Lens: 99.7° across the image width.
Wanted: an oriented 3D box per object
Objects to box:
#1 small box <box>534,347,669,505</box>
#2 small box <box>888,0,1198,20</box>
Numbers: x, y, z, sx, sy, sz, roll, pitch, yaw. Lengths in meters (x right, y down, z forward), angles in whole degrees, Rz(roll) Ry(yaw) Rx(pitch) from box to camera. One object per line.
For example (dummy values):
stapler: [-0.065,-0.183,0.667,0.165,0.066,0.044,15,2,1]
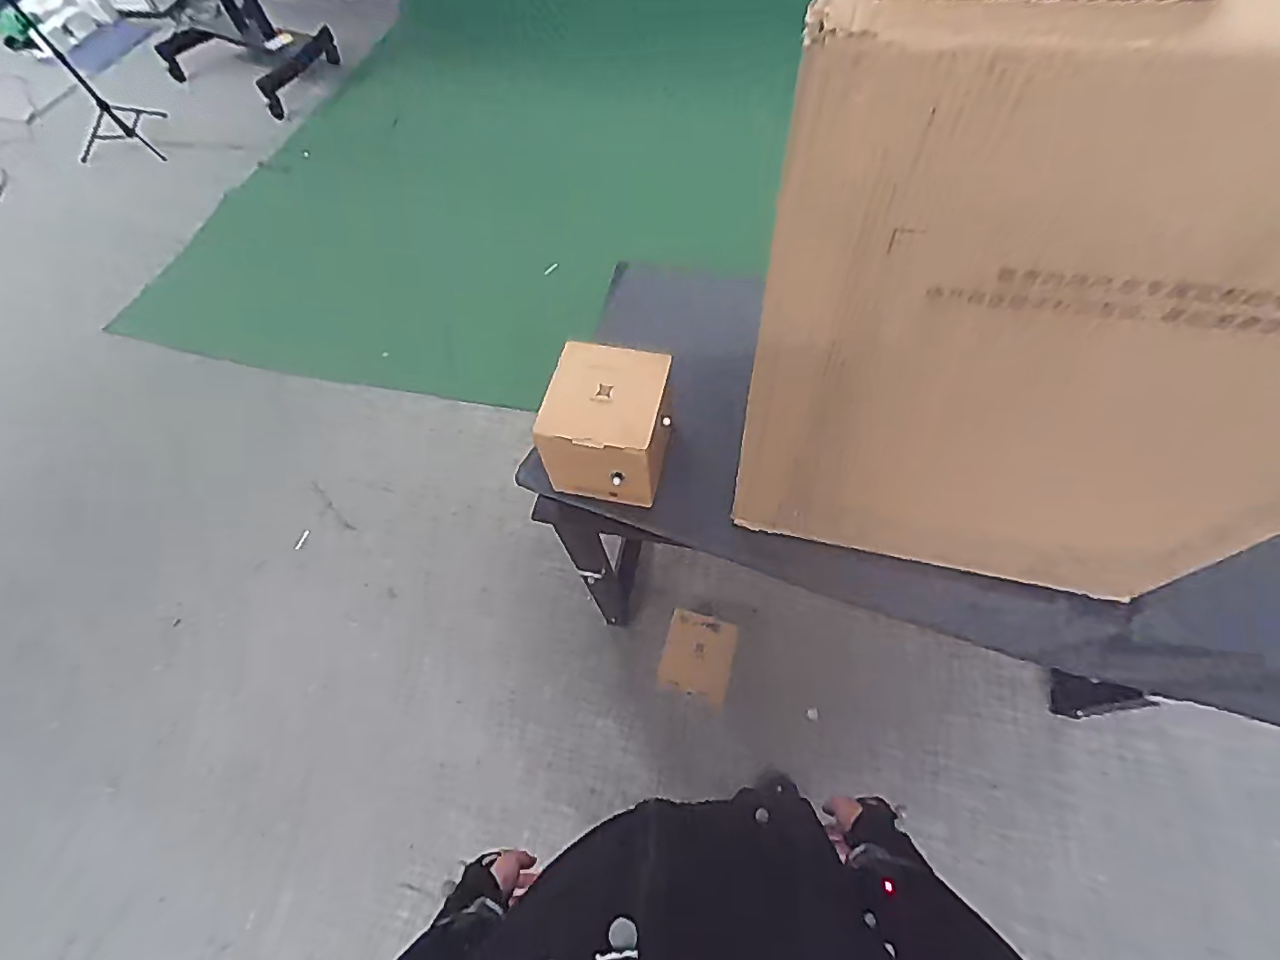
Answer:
small box: [-0.048,-0.080,0.851,0.168,0.176,0.179,10,59,7]
small box: [0.217,-0.358,0.254,0.168,0.176,0.179,11,63,12]
